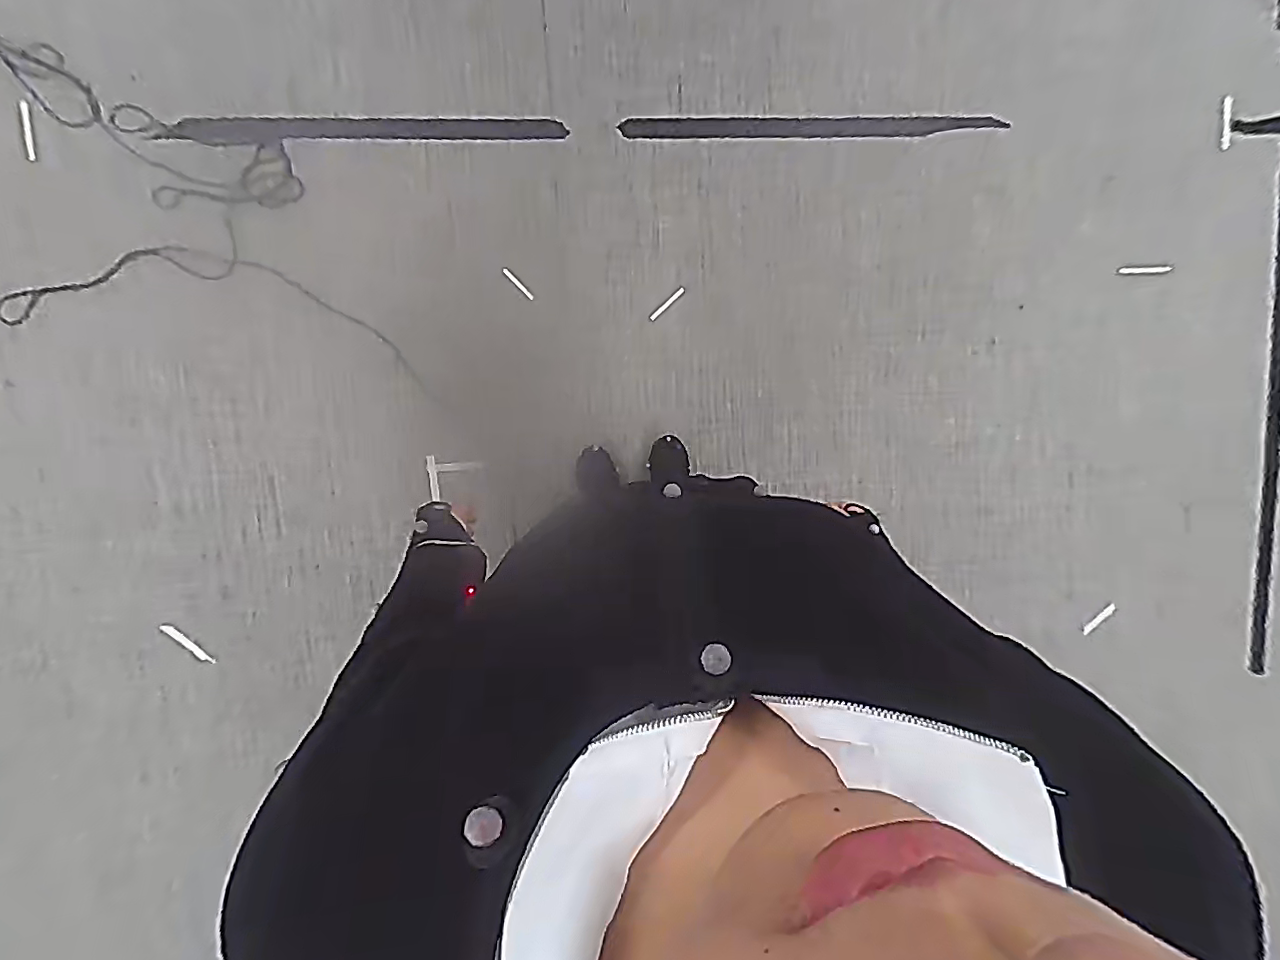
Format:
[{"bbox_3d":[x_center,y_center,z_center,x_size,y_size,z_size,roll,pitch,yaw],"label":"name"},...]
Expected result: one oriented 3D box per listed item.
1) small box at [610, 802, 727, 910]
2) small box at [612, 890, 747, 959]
[{"bbox_3d":[0.041,0.644,0.844,0.168,0.176,0.179,-4,94,-3],"label":"small box"},{"bbox_3d":[0.052,0.658,0.681,0.168,0.176,0.179,-6,94,-2],"label":"small box"}]
